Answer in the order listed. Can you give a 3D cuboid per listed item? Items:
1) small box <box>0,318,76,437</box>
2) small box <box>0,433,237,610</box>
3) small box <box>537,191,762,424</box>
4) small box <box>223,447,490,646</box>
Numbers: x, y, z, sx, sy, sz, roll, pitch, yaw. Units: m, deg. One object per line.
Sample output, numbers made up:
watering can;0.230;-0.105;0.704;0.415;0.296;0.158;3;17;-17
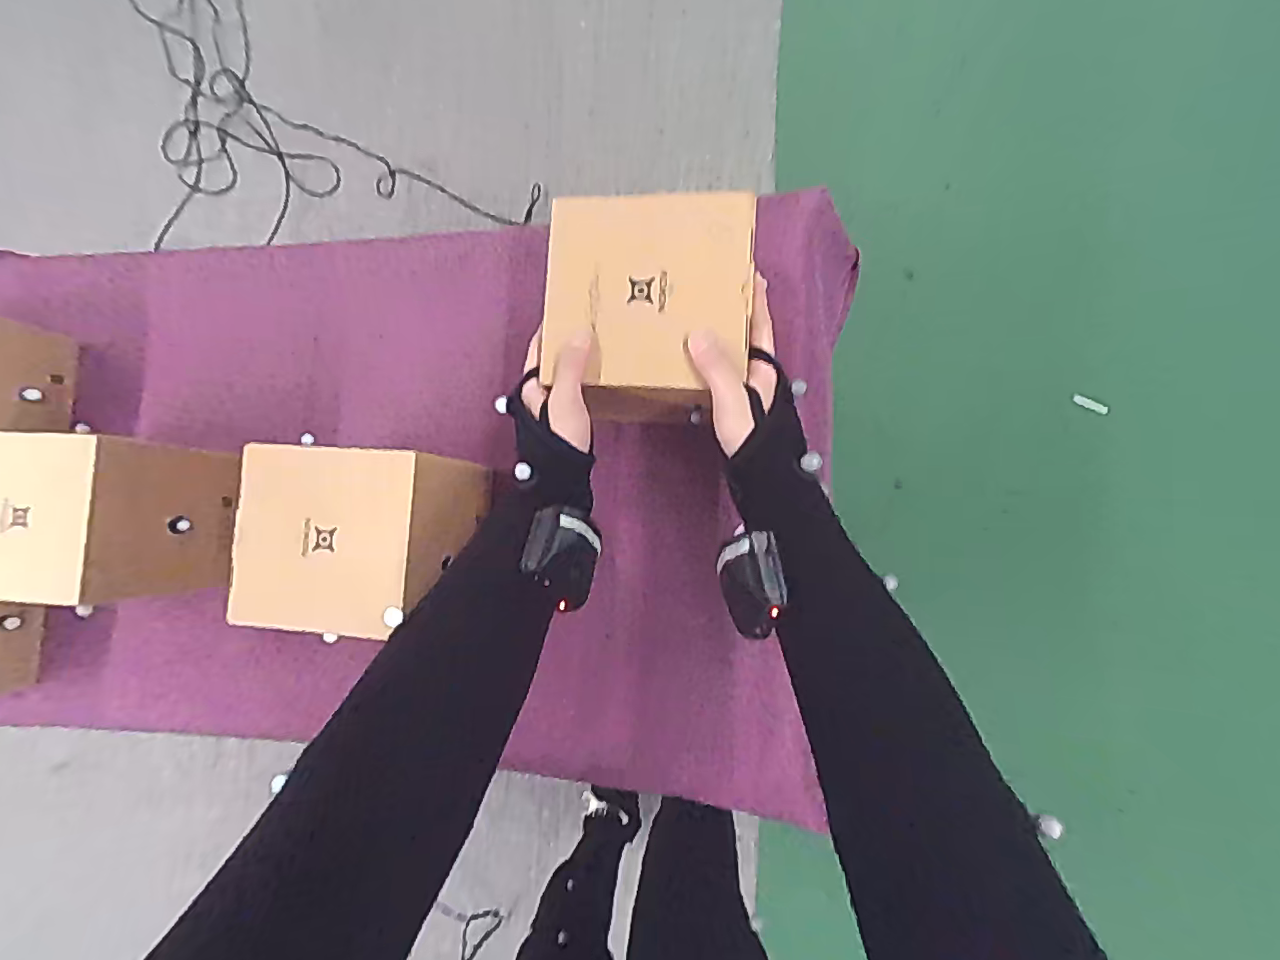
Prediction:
small box;-0.855;-0.118;0.650;0.179;0.176;0.168;2;87;8
small box;-0.595;0.041;0.599;0.179;0.176;0.168;3;86;9
small box;0.018;-0.150;0.519;0.179;0.176;0.168;4;86;10
small box;-0.269;0.060;0.551;0.179;0.176;0.168;3;87;10
